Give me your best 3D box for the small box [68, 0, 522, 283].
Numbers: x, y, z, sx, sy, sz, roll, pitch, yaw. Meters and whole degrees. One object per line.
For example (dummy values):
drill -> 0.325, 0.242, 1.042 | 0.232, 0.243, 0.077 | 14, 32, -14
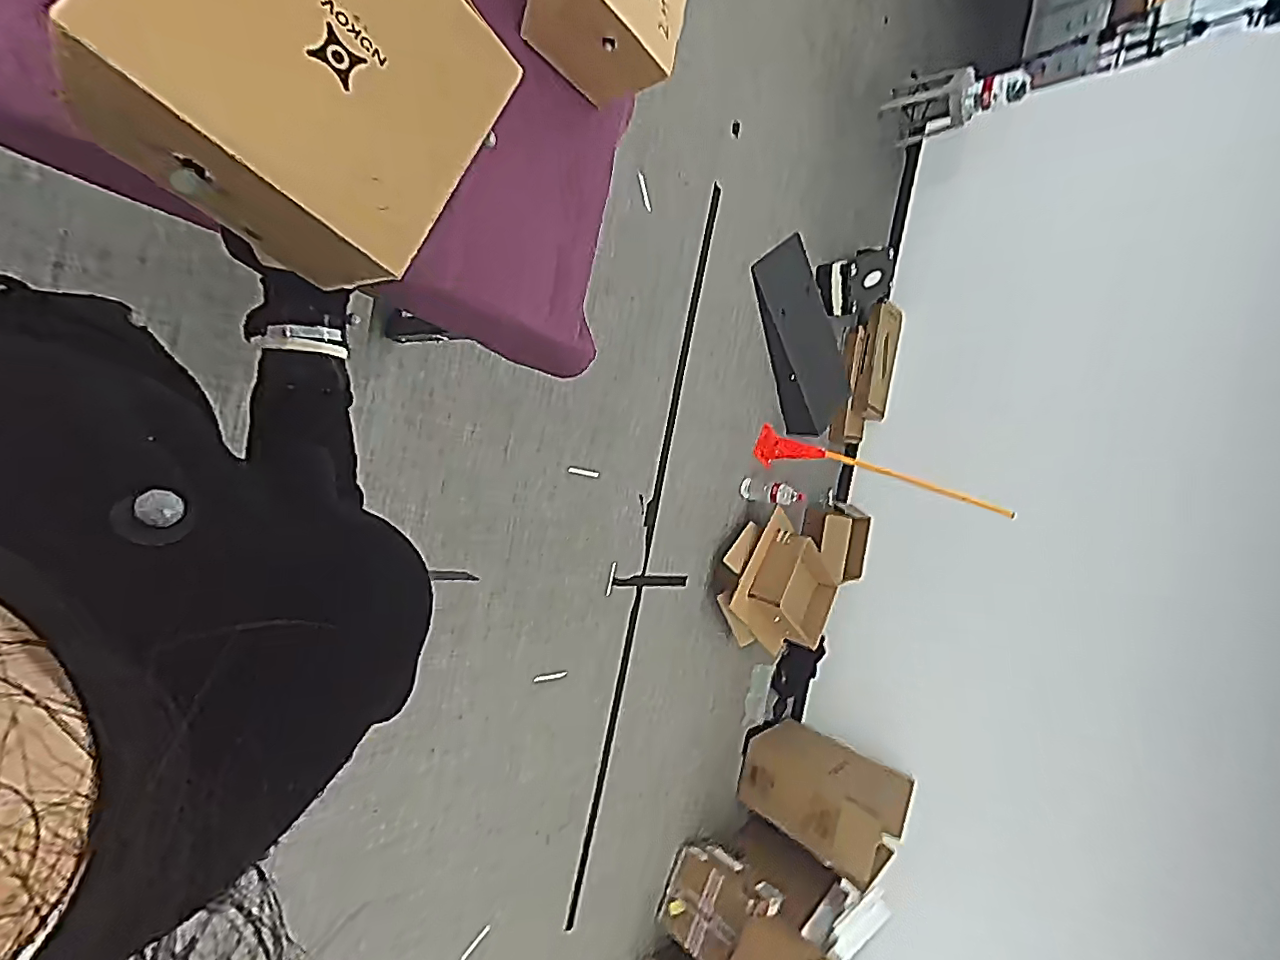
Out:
small box -> -0.218, -0.253, 0.359 | 0.168, 0.176, 0.179 | 35, 76, -44

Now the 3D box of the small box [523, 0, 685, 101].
small box -> -0.055, -0.734, 0.837 | 0.179, 0.176, 0.168 | 13, 90, -49
